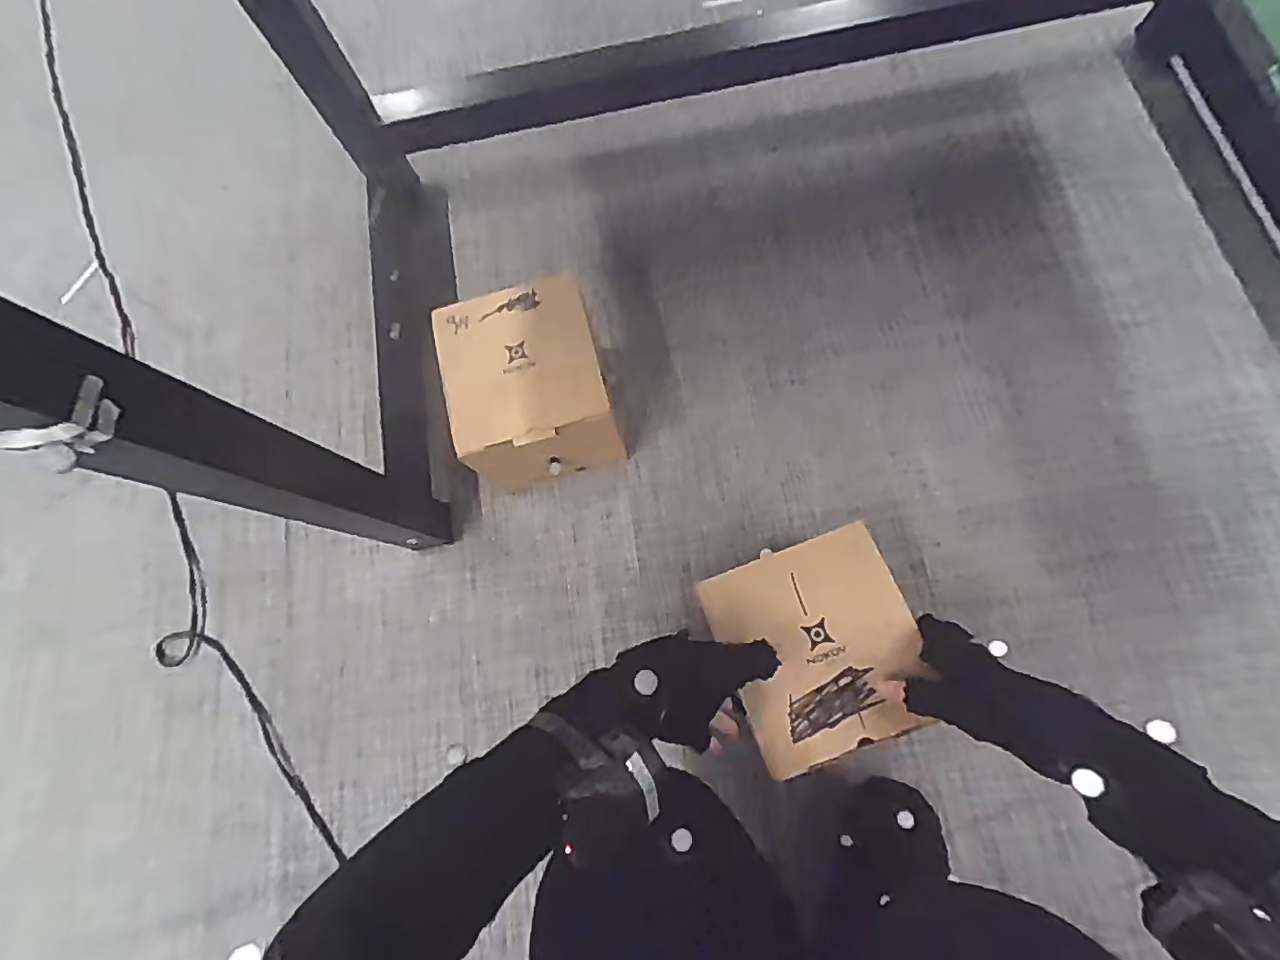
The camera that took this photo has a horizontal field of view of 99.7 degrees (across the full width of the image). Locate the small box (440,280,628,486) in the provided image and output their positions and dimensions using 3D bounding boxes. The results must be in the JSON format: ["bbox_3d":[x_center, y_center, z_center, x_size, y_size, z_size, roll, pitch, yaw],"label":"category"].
[{"bbox_3d":[-0.116,-0.100,0.649,0.168,0.176,0.179,-14,75,1],"label":"small box"}]
